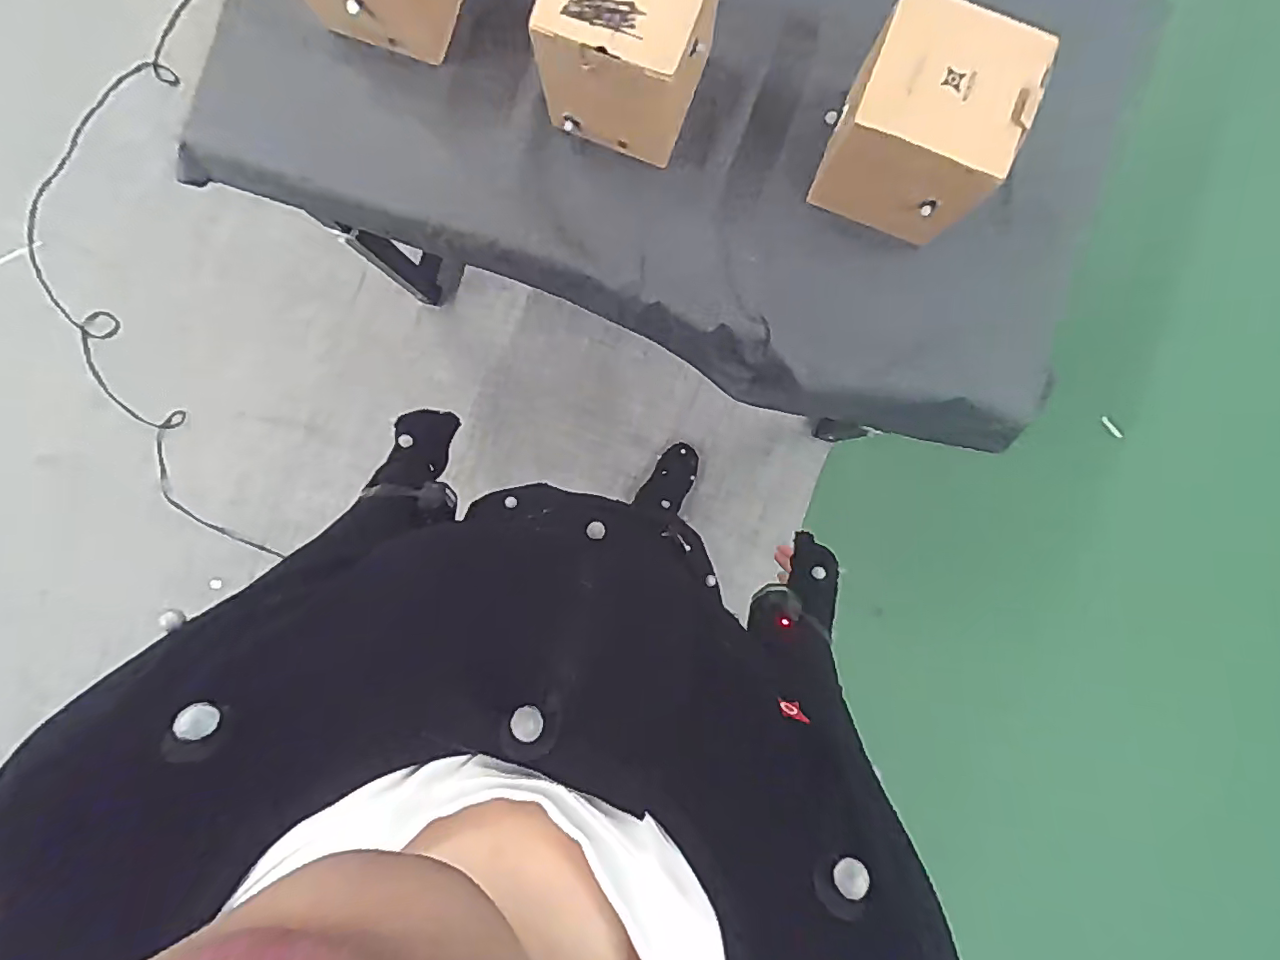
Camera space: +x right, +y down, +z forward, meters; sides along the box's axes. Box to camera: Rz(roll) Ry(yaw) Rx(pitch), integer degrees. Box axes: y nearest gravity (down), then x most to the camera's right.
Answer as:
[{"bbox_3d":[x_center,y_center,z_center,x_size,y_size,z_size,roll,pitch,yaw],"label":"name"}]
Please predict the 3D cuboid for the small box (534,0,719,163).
[{"bbox_3d":[-0.007,-0.530,0.655,0.168,0.176,0.179,21,89,0],"label":"small box"}]

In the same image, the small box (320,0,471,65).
[{"bbox_3d":[-0.311,-0.663,0.657,0.168,0.176,0.179,18,91,0],"label":"small box"}]

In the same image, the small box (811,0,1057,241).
[{"bbox_3d":[0.336,-0.419,0.655,0.179,0.176,0.168,21,89,2],"label":"small box"}]
